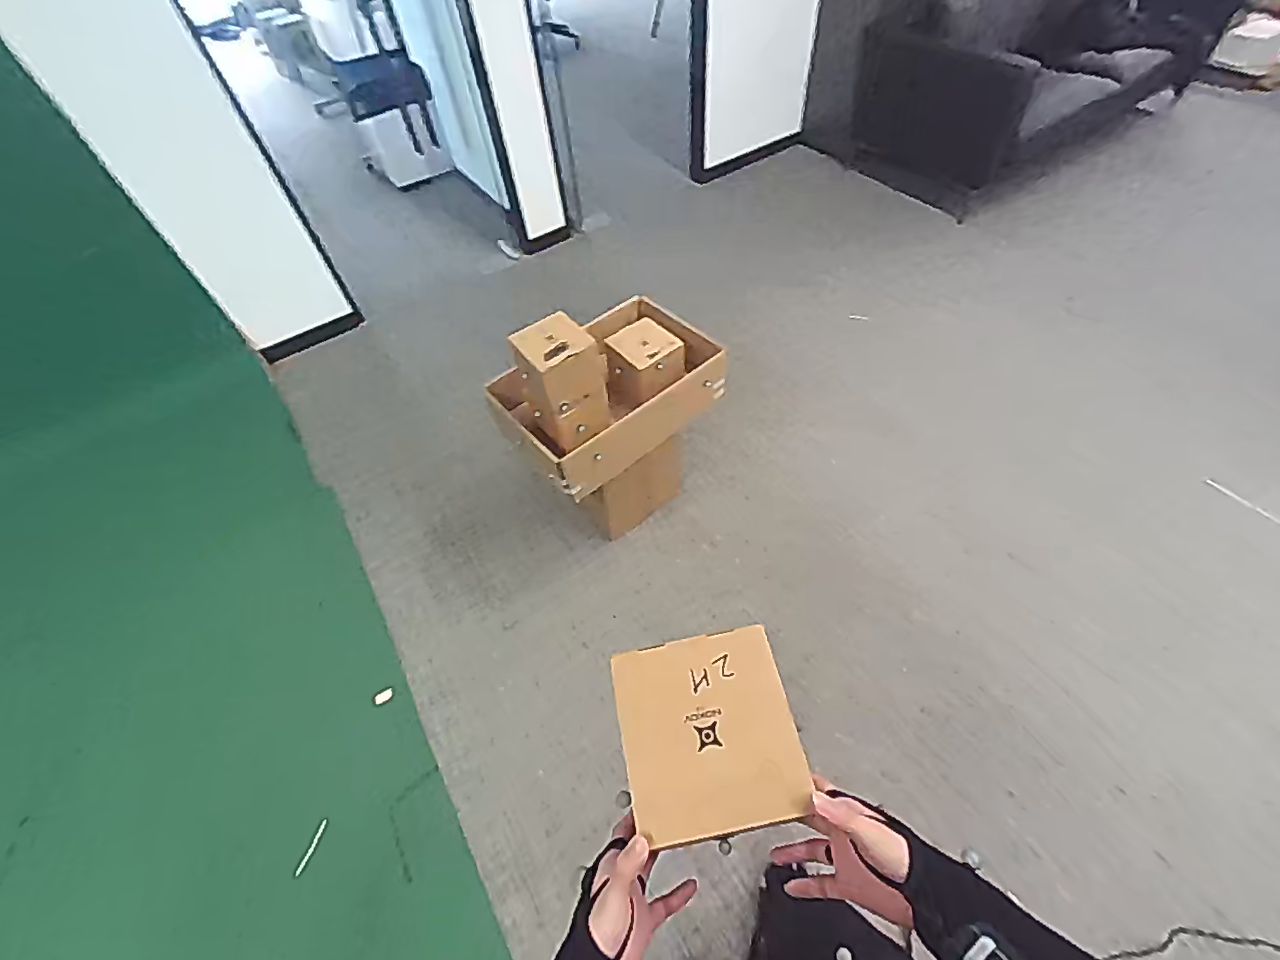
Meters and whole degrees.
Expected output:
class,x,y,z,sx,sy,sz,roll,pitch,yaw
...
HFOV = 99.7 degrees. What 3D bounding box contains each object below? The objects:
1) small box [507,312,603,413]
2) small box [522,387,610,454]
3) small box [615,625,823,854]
class,x,y,z,sx,sy,sz,roll,pitch,yaw
small box,-0.213,-0.296,1.401,0.168,0.176,0.179,-32,56,-18
small box,-0.203,-0.197,1.531,0.168,0.176,0.179,-36,58,-20
small box,0.074,0.277,0.572,0.168,0.176,0.179,-10,54,-1
